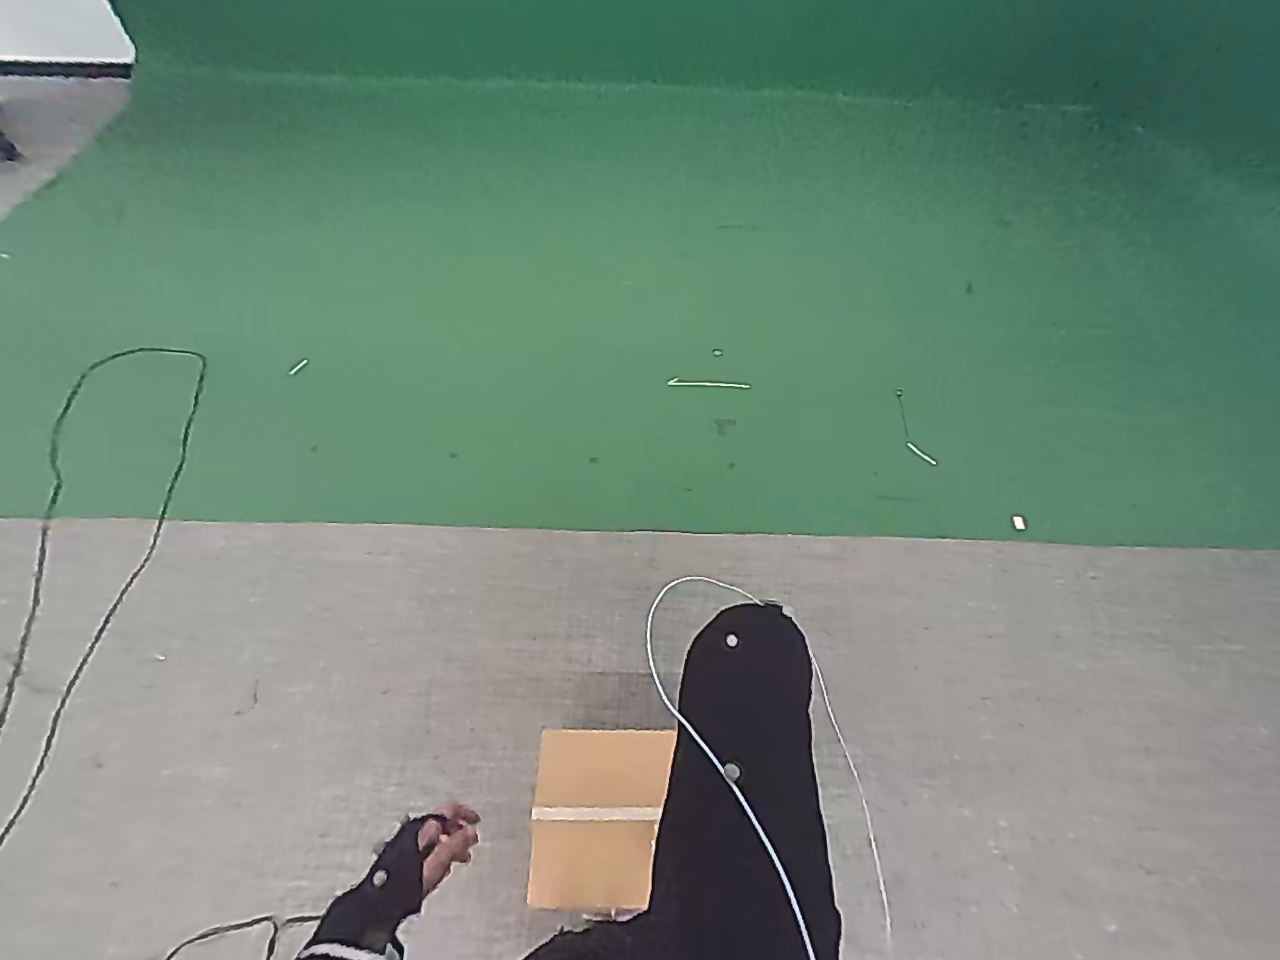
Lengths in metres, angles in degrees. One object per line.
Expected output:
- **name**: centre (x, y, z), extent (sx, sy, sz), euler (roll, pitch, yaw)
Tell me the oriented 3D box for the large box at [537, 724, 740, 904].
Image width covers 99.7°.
- **large box**: centre (-0.012, 0.761, 1.247), extent (0.408, 0.320, 0.320), euler (0, 57, -2)
